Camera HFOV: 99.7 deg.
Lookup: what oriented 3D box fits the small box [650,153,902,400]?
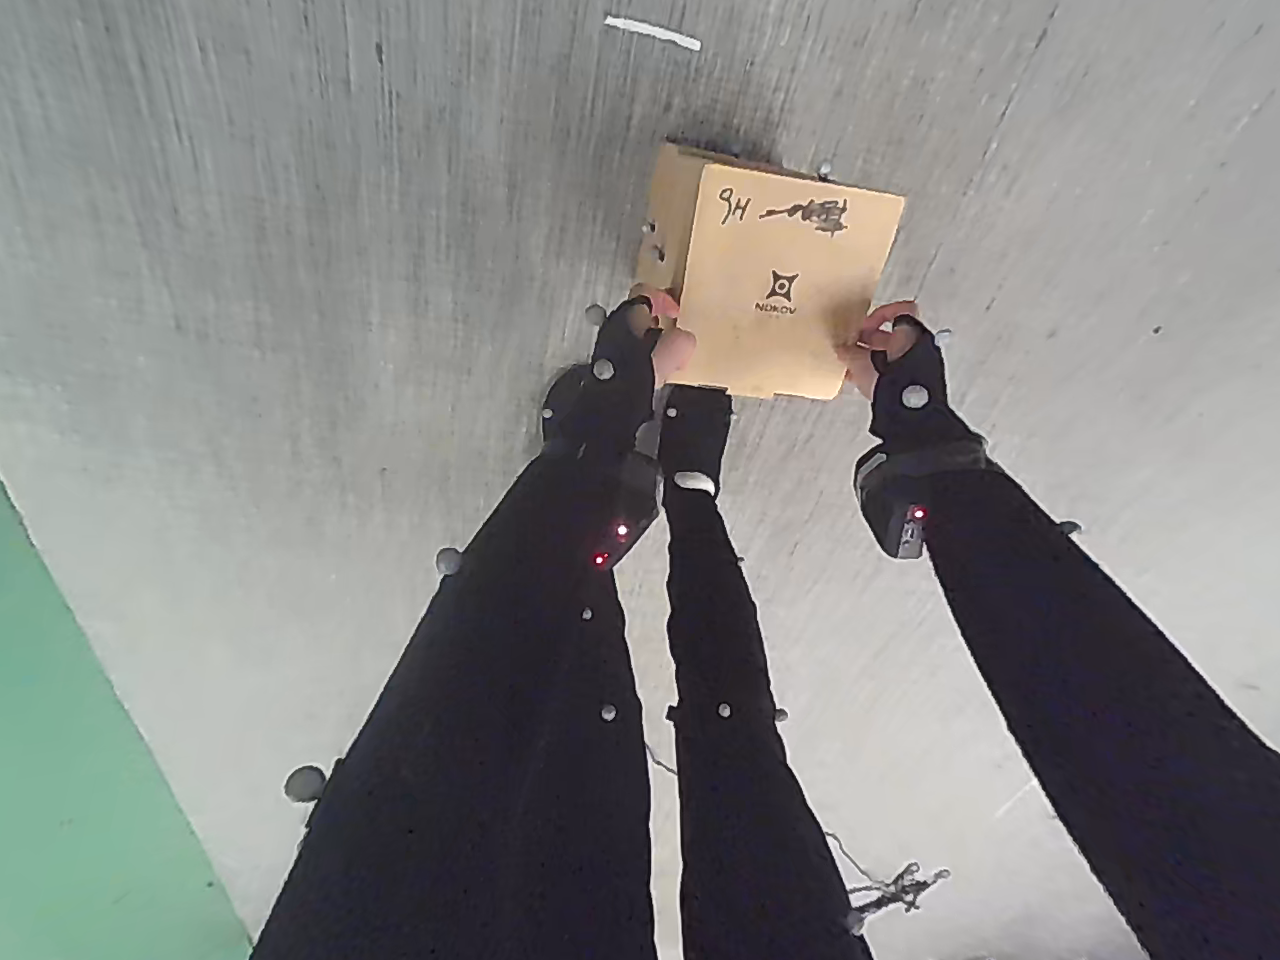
[{"bbox_3d":[0.105,-0.197,0.517,0.168,0.176,0.179,5,122,-9],"label":"small box"}]
